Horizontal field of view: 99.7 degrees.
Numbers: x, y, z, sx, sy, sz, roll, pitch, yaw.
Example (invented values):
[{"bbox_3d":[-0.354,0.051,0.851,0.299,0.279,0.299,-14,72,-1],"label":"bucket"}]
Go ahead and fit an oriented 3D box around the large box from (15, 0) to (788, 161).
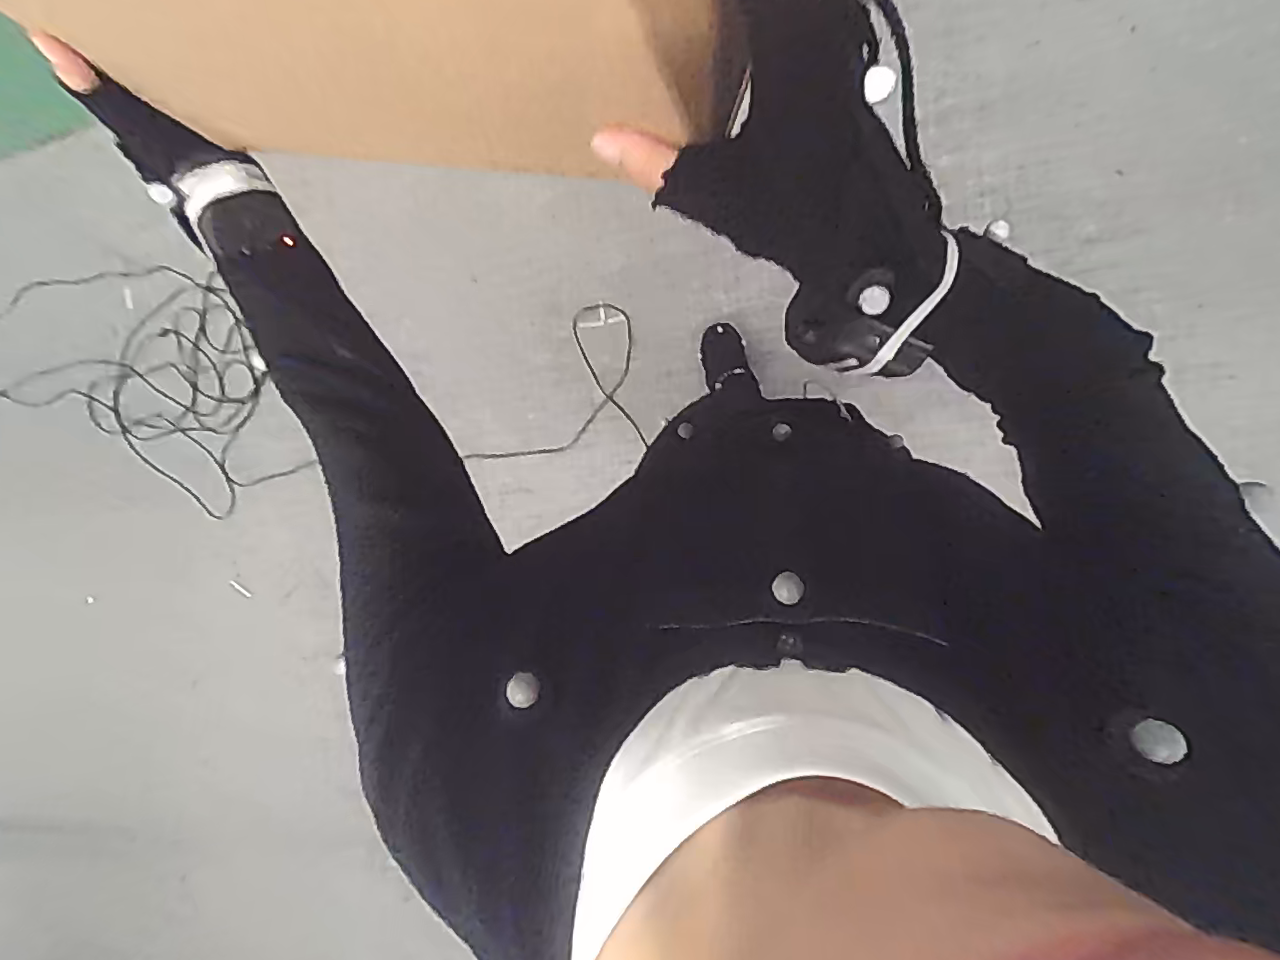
[{"bbox_3d":[-0.140,-0.358,0.190,0.408,0.320,0.320,18,91,23],"label":"large box"}]
